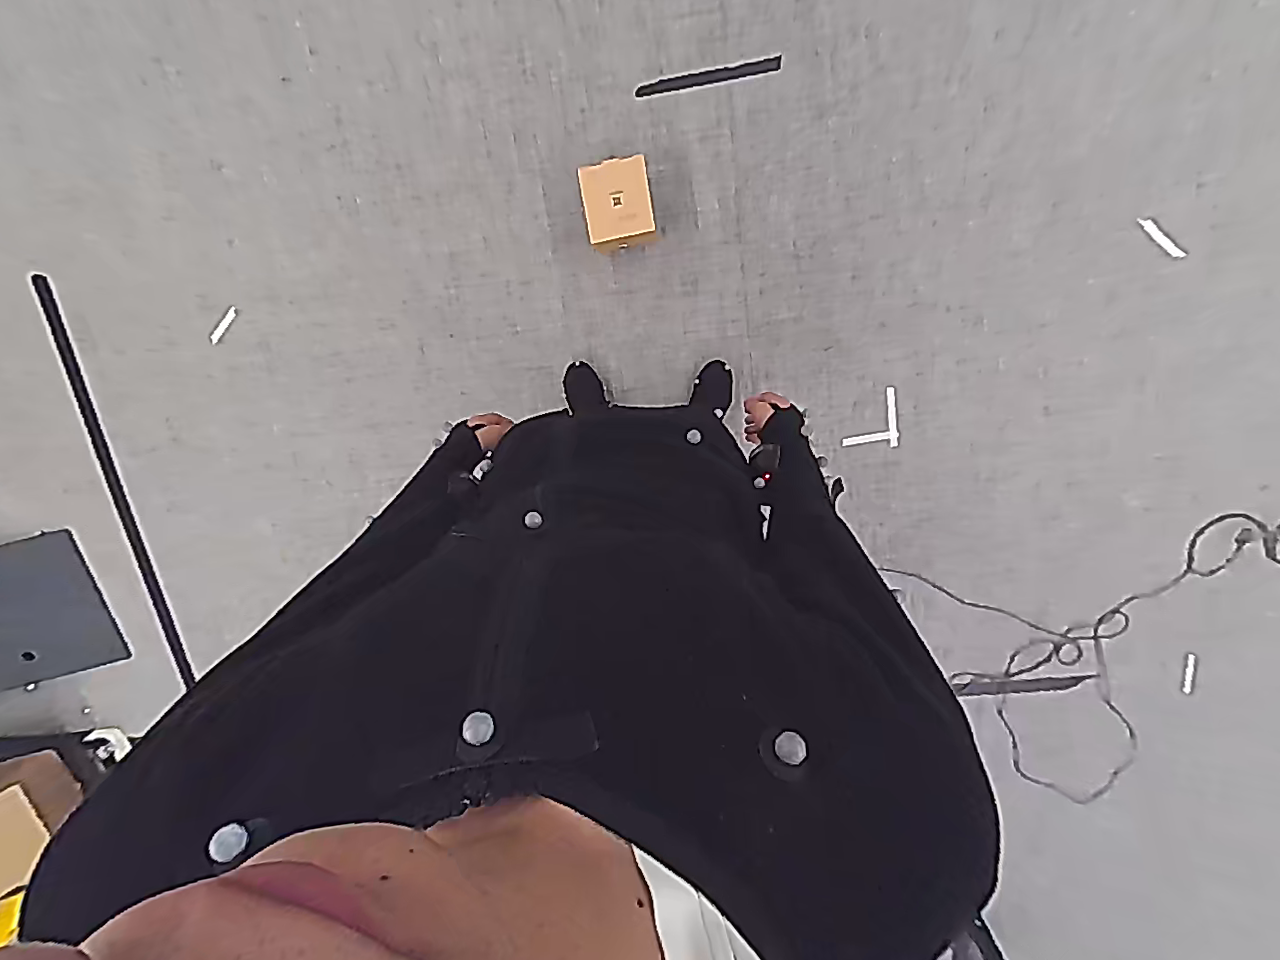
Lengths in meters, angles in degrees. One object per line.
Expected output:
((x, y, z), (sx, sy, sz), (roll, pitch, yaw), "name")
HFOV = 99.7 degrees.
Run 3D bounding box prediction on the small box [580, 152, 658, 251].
((-0.049, -0.704, 1.385), (0.168, 0.176, 0.179), (-9, 104, 6), "small box")
